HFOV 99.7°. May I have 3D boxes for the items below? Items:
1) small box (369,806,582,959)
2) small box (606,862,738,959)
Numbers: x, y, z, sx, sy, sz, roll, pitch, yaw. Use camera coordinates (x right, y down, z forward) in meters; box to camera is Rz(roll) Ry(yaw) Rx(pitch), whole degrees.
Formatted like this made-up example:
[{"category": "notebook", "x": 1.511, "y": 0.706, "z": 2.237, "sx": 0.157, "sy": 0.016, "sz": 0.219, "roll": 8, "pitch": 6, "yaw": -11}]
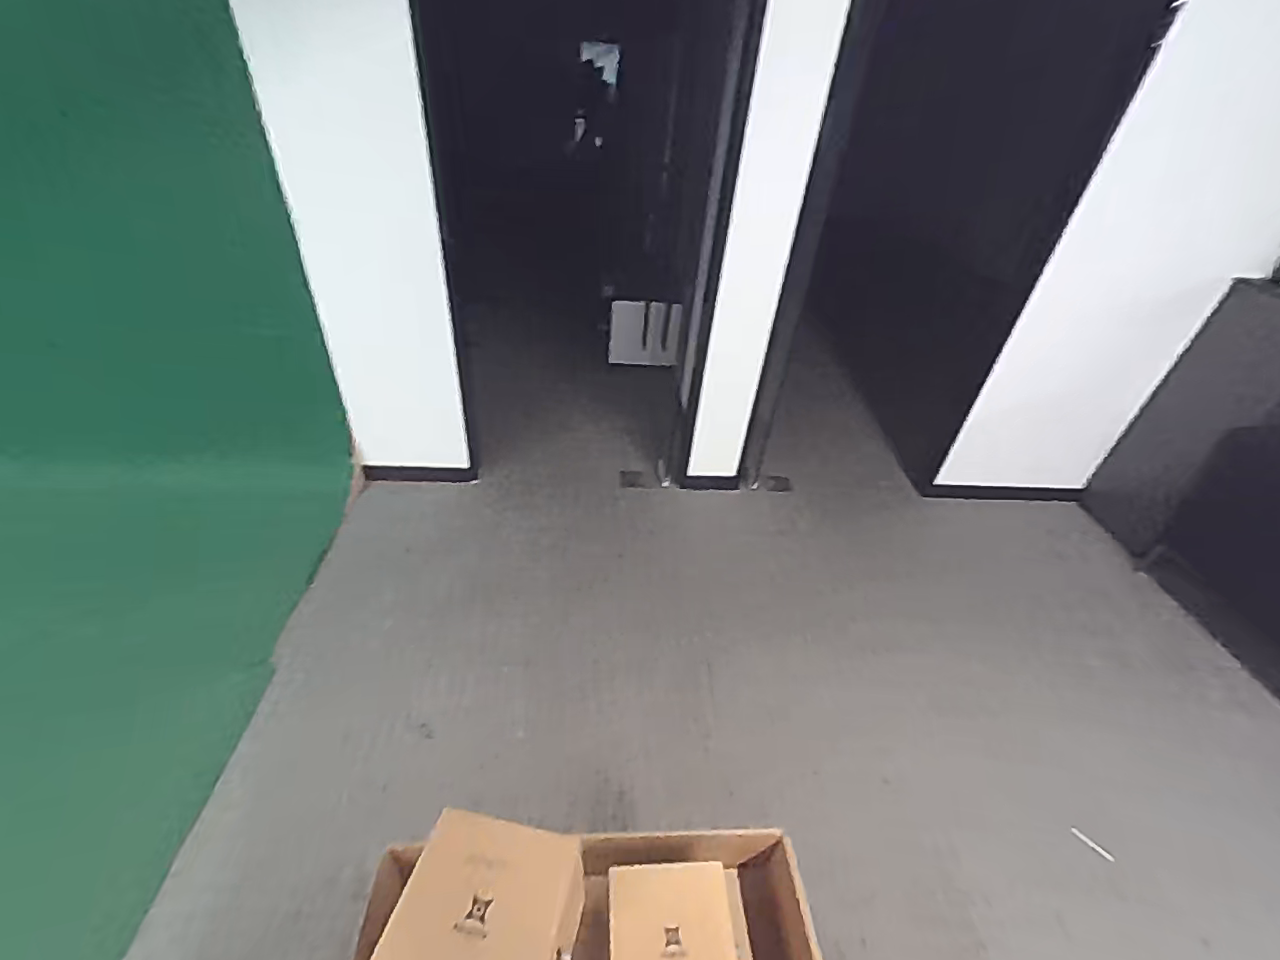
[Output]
[{"category": "small box", "x": -0.163, "y": 0.496, "z": 0.578, "sx": 0.168, "sy": 0.176, "sz": 0.179, "roll": 9, "pitch": 35, "yaw": 10}, {"category": "small box", "x": 0.038, "y": 0.666, "z": 0.754, "sx": 0.168, "sy": 0.176, "sz": 0.179, "roll": 1, "pitch": 39, "yaw": -5}]
